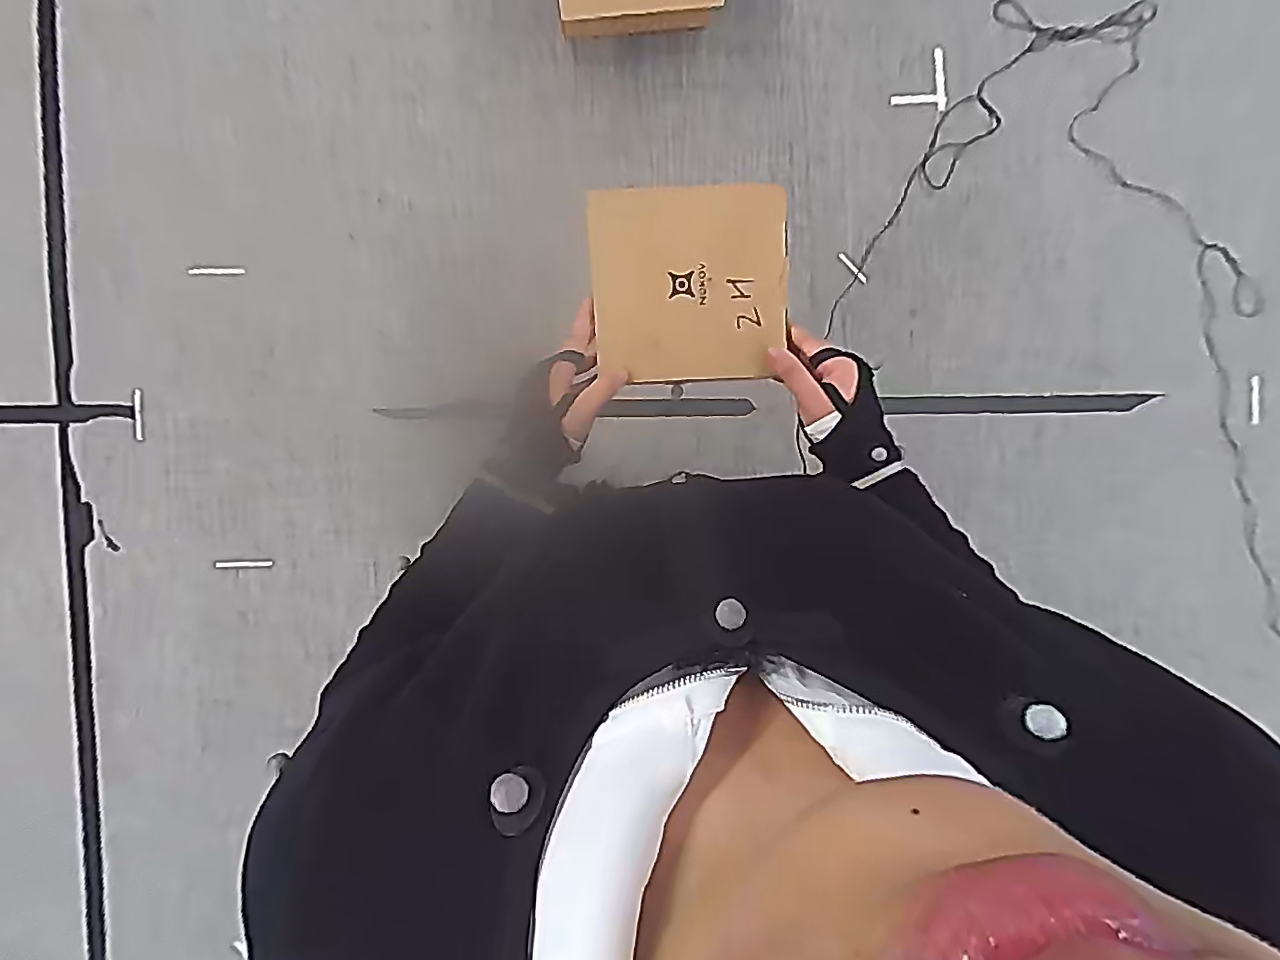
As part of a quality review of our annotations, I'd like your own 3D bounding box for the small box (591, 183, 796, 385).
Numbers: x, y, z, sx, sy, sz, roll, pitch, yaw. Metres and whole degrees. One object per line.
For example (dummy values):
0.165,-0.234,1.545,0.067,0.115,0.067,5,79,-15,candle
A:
0.045,-0.182,0.548,0.179,0.176,0.168,-3,100,-3,small box
